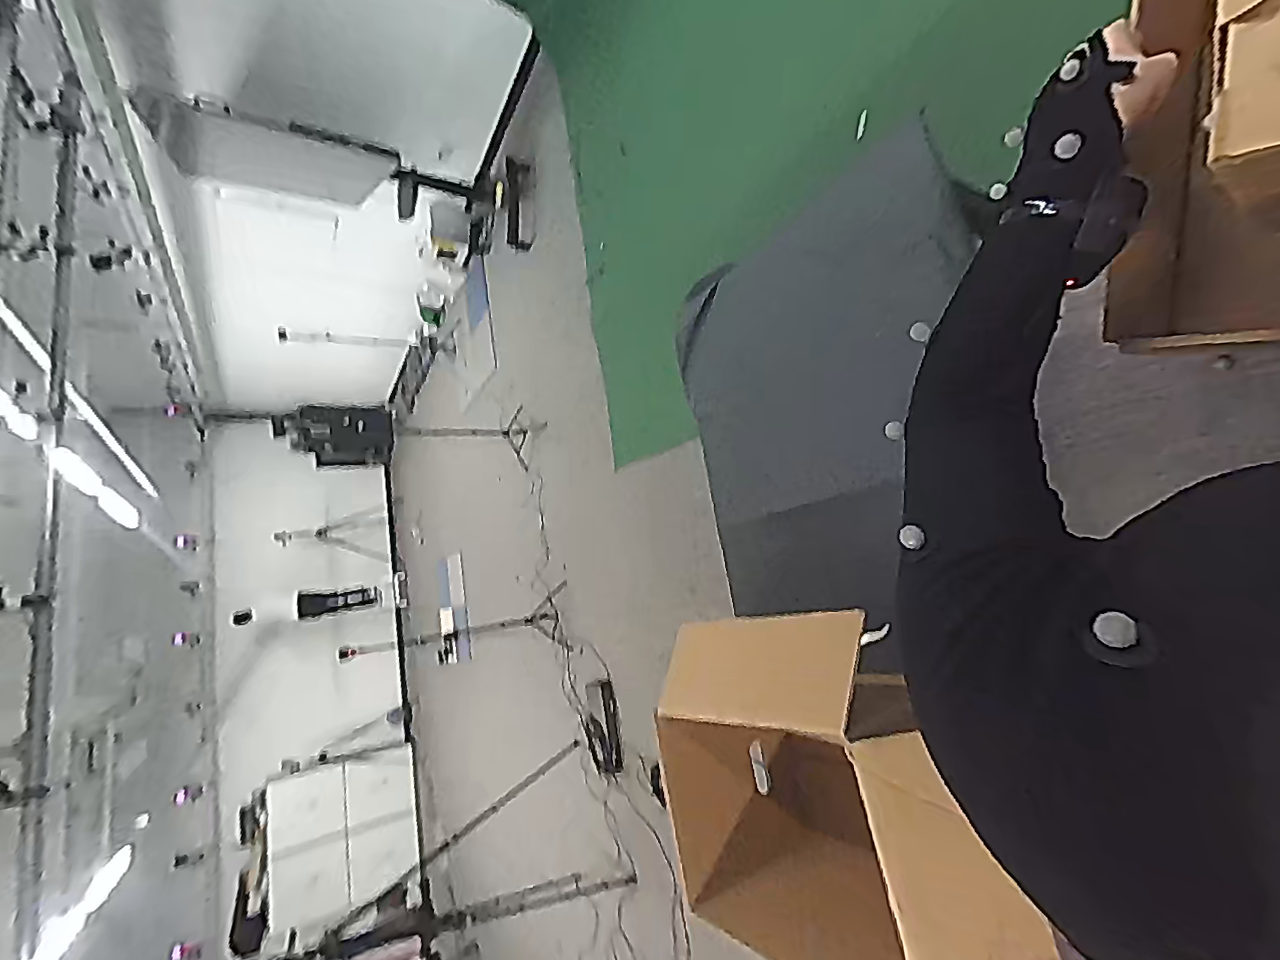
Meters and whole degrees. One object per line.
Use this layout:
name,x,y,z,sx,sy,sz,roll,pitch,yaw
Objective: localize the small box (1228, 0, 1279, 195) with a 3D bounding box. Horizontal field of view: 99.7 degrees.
small box,0.384,-0.231,0.215,0.179,0.176,0.168,8,102,53
